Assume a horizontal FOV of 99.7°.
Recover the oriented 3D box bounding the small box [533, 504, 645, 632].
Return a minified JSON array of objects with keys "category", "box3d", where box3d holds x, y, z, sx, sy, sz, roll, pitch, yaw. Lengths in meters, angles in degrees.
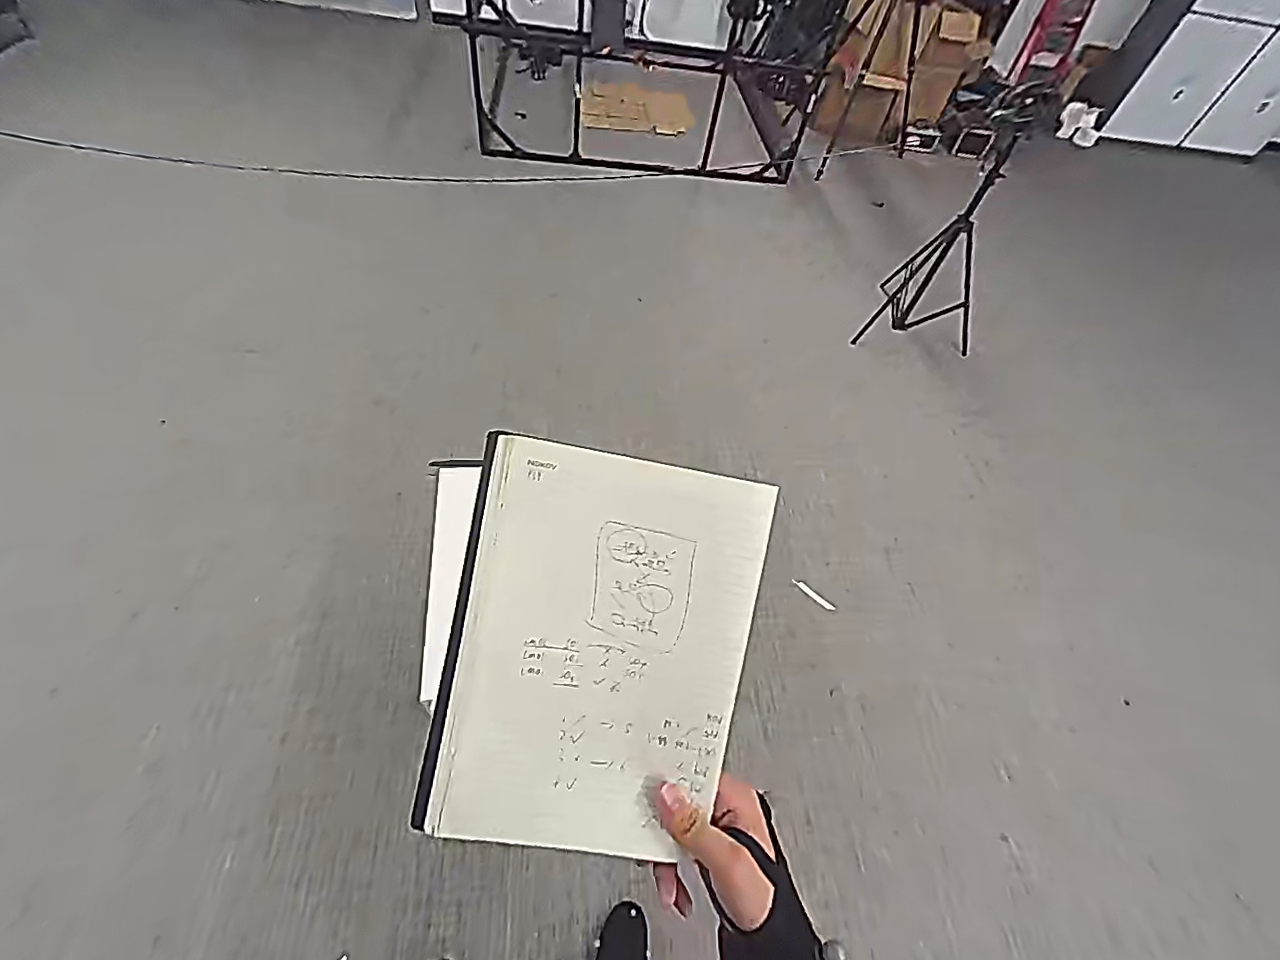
[{"category":"small box","box3d":[-0.105,0.170,1.036,0.179,0.176,0.168,-10,55,-15]}]
